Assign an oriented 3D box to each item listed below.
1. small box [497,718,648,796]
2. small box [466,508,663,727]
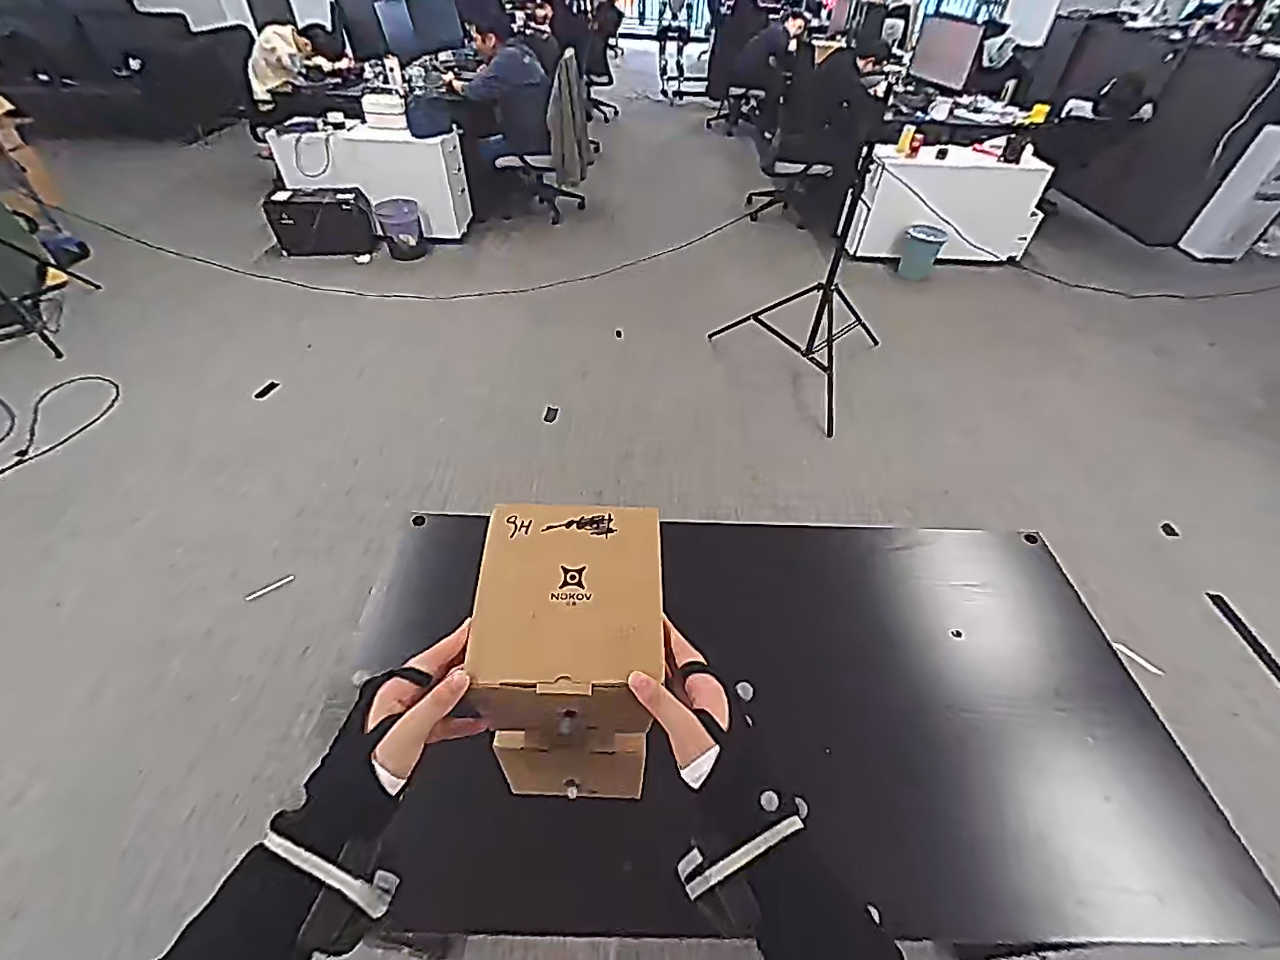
[{"bbox_3d":[-0.074,0.283,0.697,0.168,0.176,0.179,2,46,0],"label":"small box"},{"bbox_3d":[-0.065,0.146,0.553,0.168,0.176,0.179,1,54,-3],"label":"small box"}]
